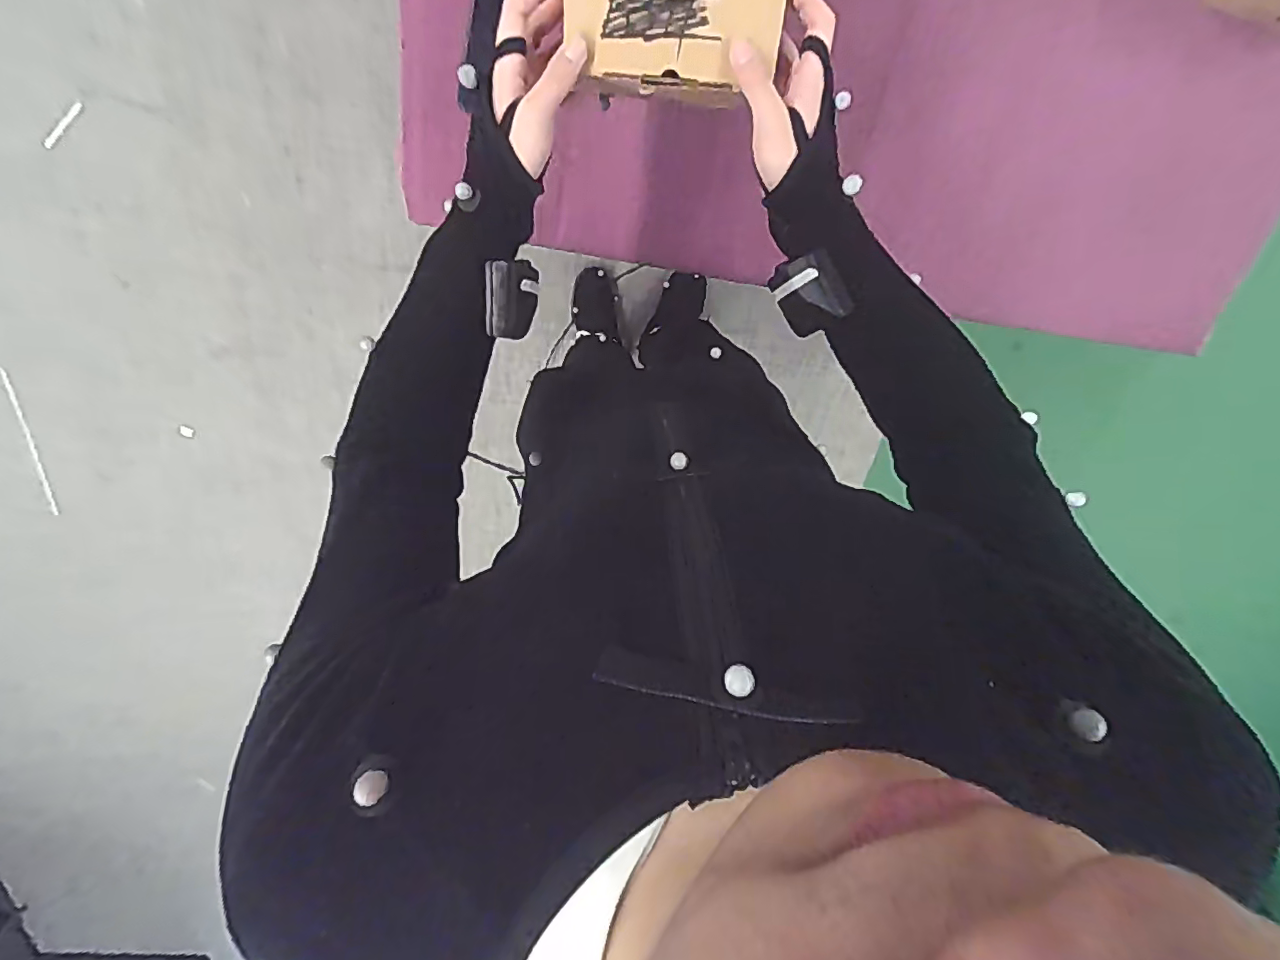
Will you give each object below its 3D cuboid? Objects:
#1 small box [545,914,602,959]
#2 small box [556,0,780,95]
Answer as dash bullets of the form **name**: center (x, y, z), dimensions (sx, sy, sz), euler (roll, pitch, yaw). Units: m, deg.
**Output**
- **small box**: center (-0.216, 1.534, 1.729), dimensions (0.168, 0.176, 0.179), euler (10, 115, -9)
- **small box**: center (0.022, -0.432, 0.440), dimensions (0.168, 0.176, 0.179), euler (2, 120, -6)
